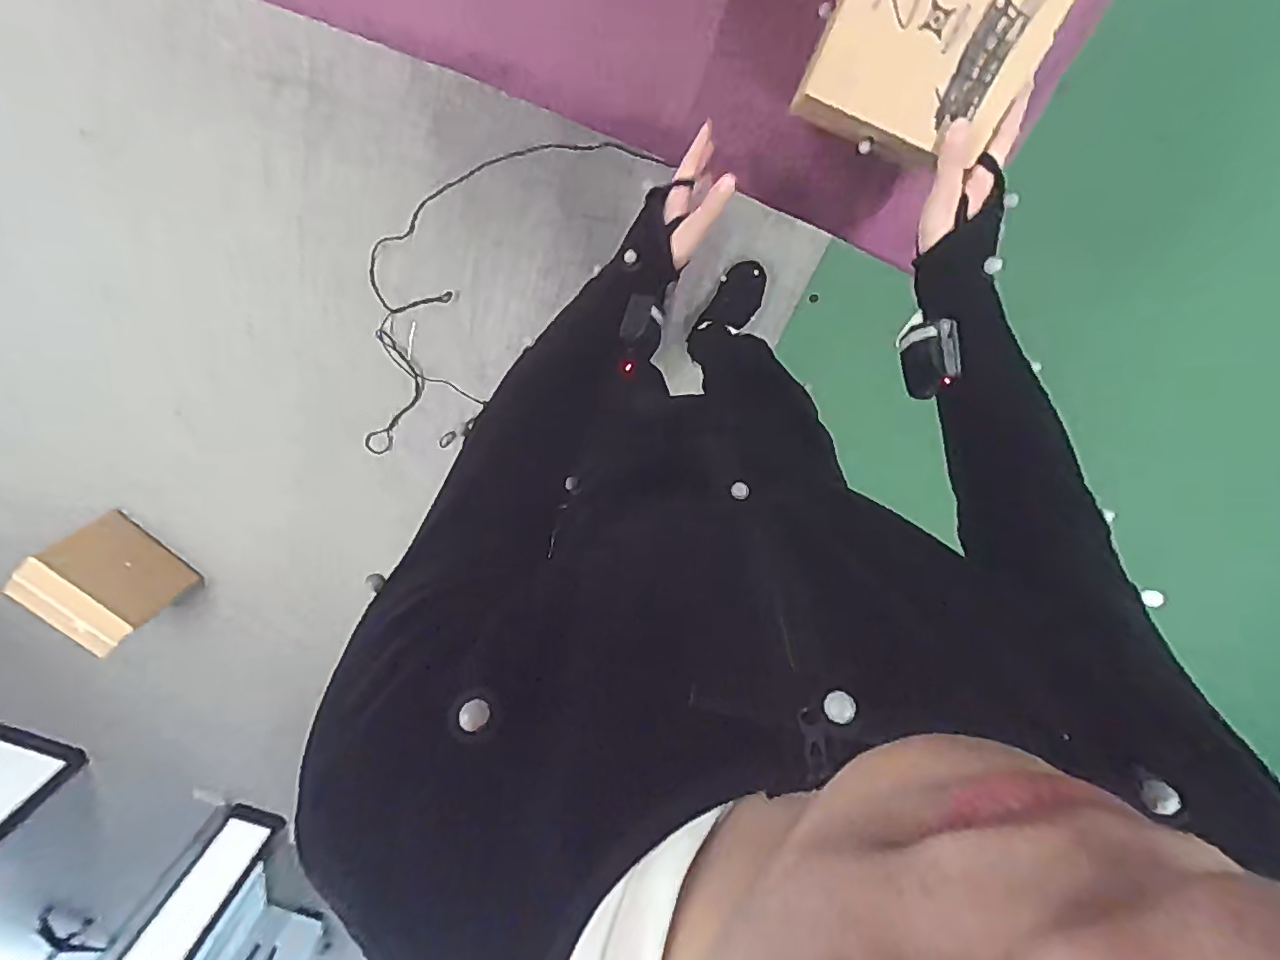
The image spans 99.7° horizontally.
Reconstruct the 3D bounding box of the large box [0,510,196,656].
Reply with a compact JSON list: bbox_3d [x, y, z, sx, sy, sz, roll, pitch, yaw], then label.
[{"bbox_3d":[-2.088,0.397,2.102,0.320,0.320,0.408,-31,111,24],"label":"large box"}]
